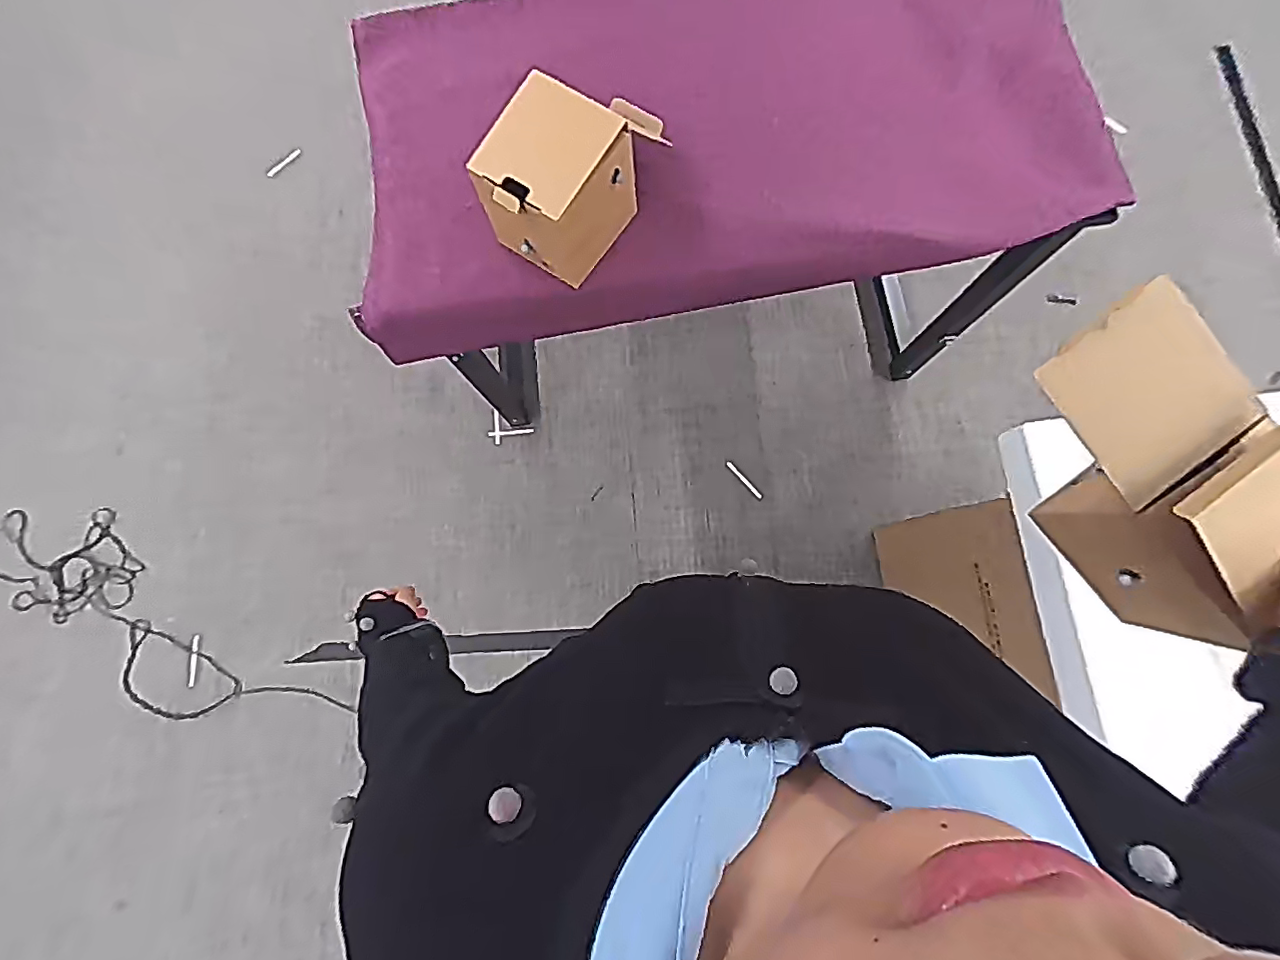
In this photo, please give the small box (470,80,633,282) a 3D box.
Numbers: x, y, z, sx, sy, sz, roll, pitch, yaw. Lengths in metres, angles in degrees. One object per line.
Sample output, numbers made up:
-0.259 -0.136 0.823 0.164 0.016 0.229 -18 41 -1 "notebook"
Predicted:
-0.123 -0.448 0.833 0.168 0.176 0.179 34 82 10 "small box"
